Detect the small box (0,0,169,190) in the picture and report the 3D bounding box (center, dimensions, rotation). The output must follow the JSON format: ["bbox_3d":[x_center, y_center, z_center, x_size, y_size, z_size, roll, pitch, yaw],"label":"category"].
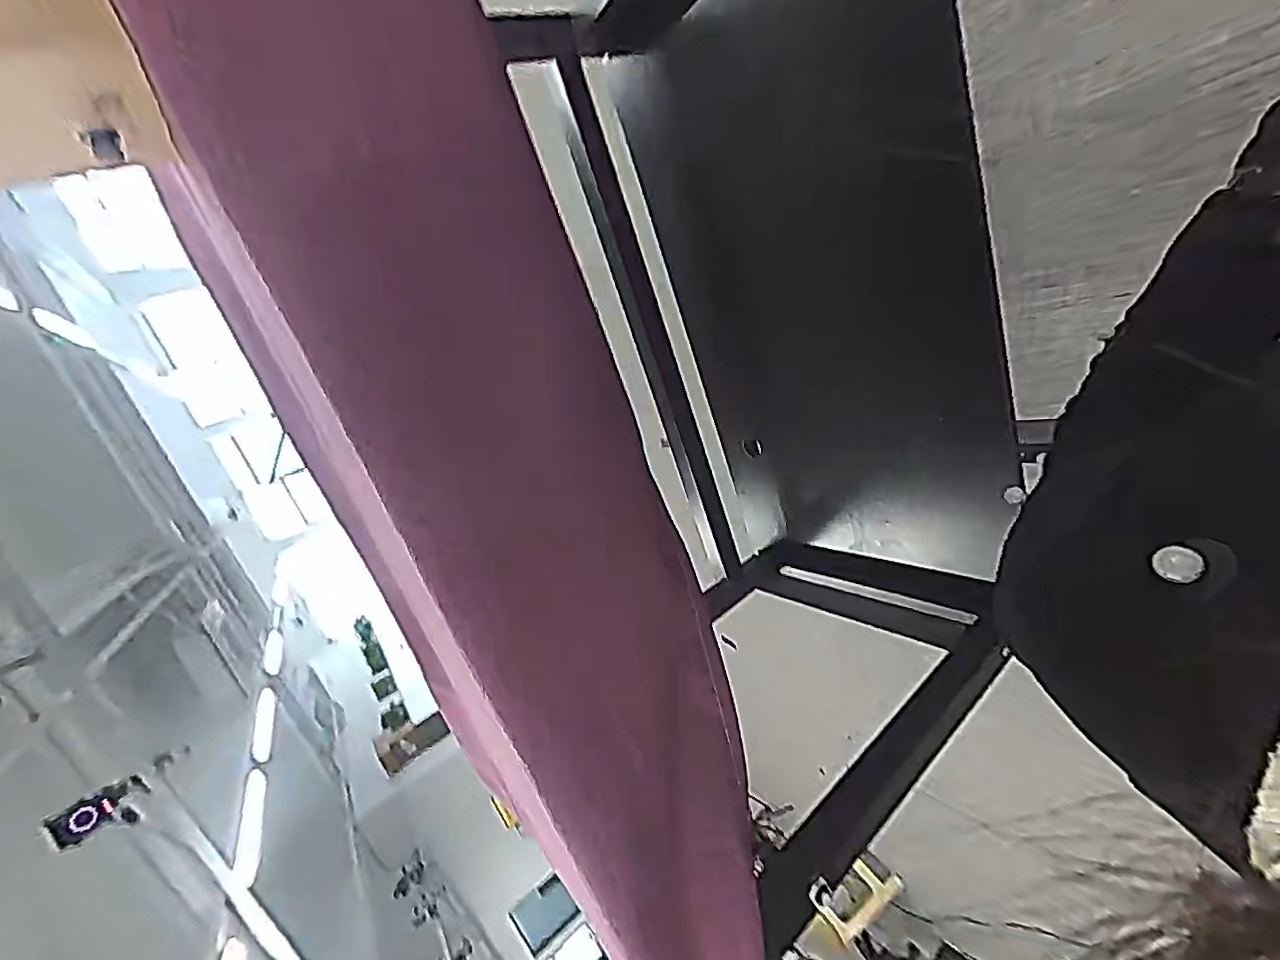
[{"bbox_3d":[-0.403,-0.269,0.285,0.168,0.176,0.179,11,126,57],"label":"small box"}]
